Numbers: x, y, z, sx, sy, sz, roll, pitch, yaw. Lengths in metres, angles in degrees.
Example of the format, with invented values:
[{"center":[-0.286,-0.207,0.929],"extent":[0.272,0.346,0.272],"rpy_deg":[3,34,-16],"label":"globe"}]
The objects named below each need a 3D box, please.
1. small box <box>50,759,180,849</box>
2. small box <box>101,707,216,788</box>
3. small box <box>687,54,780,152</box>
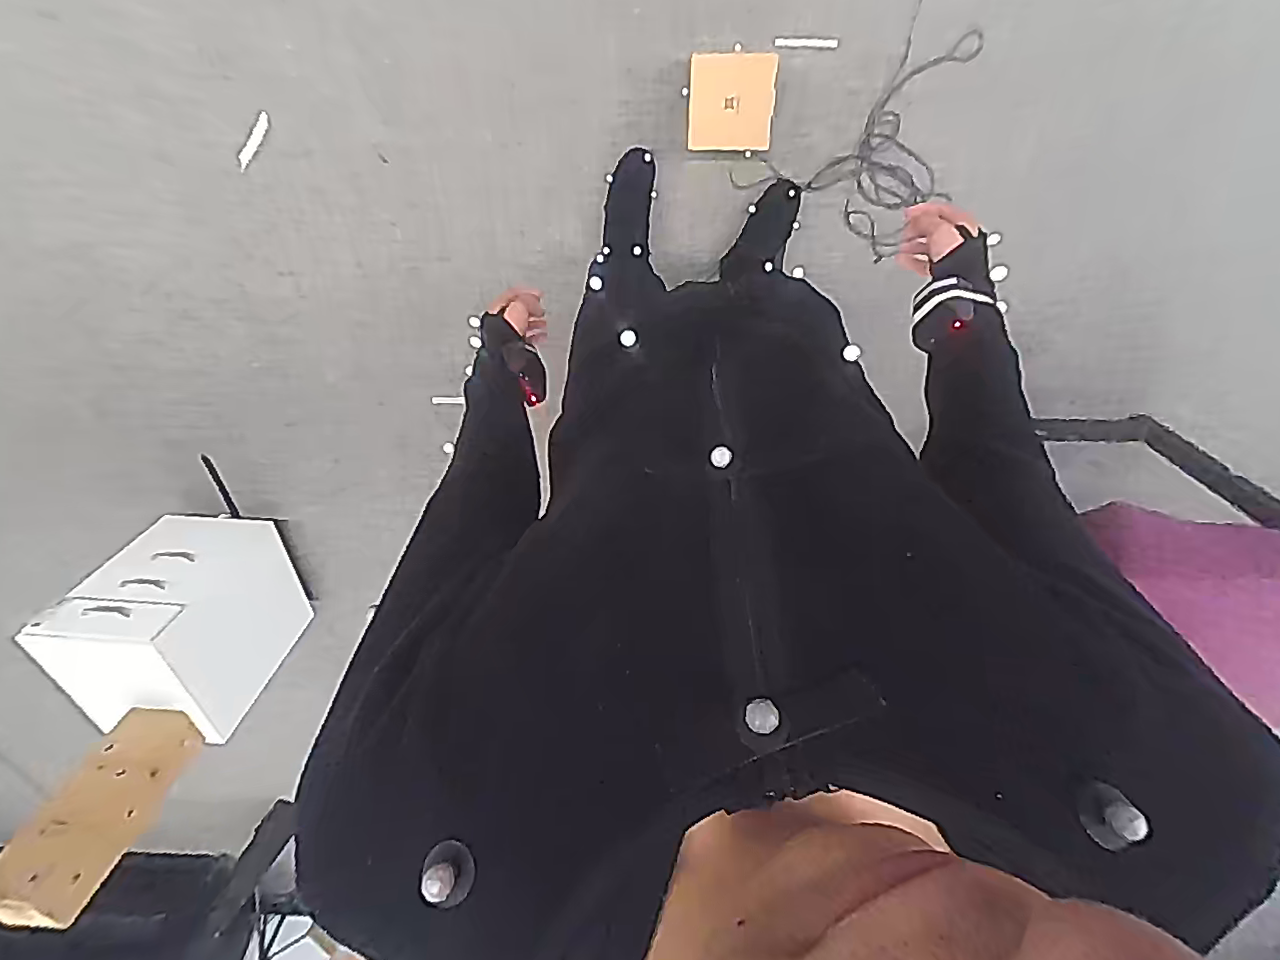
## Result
[{"center":[-1.500,0.930,1.560],"extent":[0.168,0.176,0.179],"rpy_deg":[3,125,3],"label":"small box"},{"center":[-1.496,0.835,1.695],"extent":[0.179,0.176,0.168],"rpy_deg":[2,125,3],"label":"small box"},{"center":[0.192,-0.810,1.170],"extent":[0.179,0.176,0.168],"rpy_deg":[0,124,2],"label":"small box"}]
